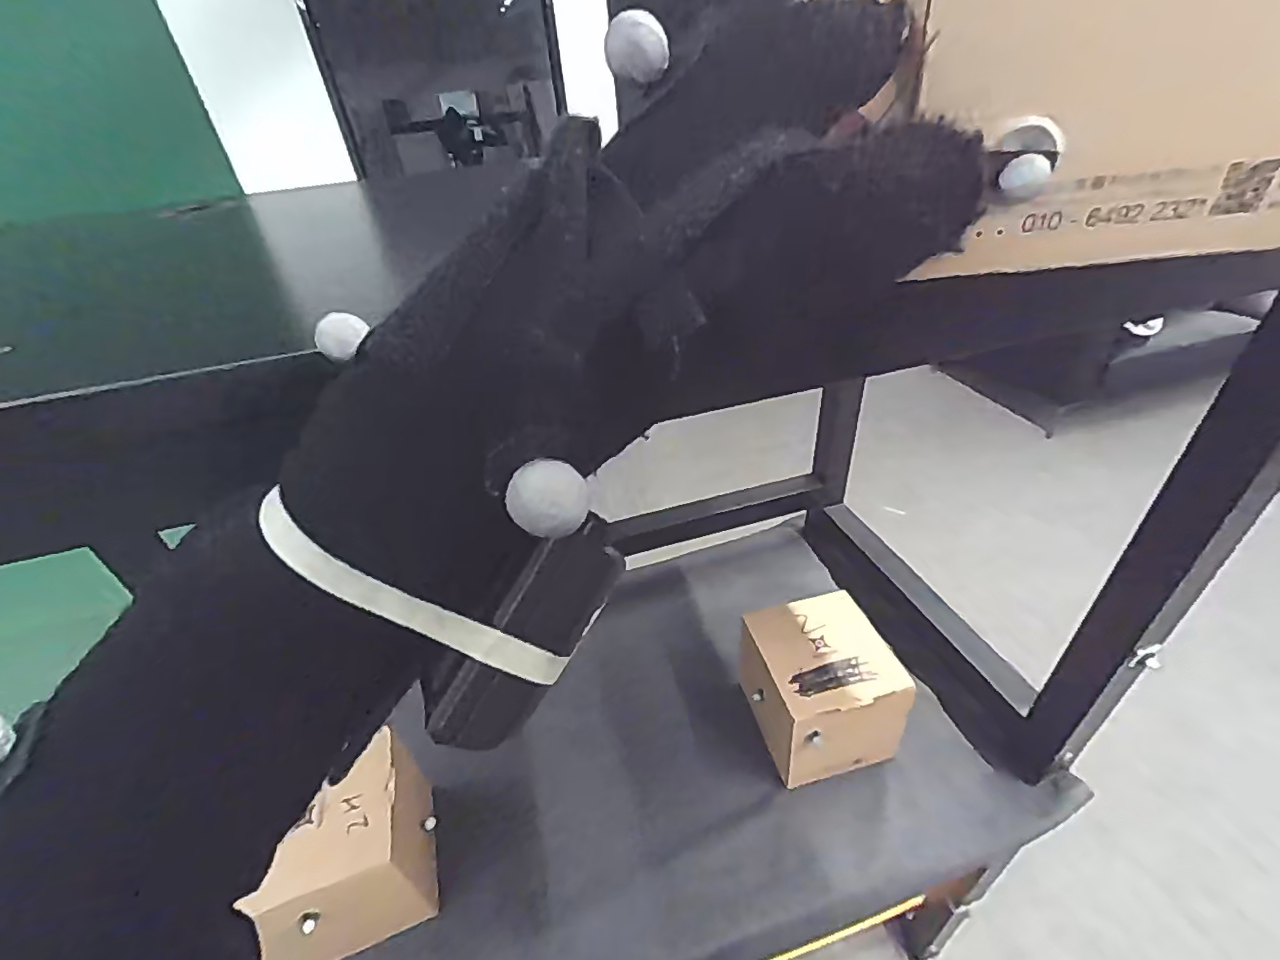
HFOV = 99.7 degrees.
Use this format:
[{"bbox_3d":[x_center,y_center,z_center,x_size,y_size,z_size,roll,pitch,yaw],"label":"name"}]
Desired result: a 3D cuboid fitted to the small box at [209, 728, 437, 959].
[{"bbox_3d":[-0.364,0.448,0.659,0.179,0.176,0.168,-15,37,-14],"label":"small box"}]
